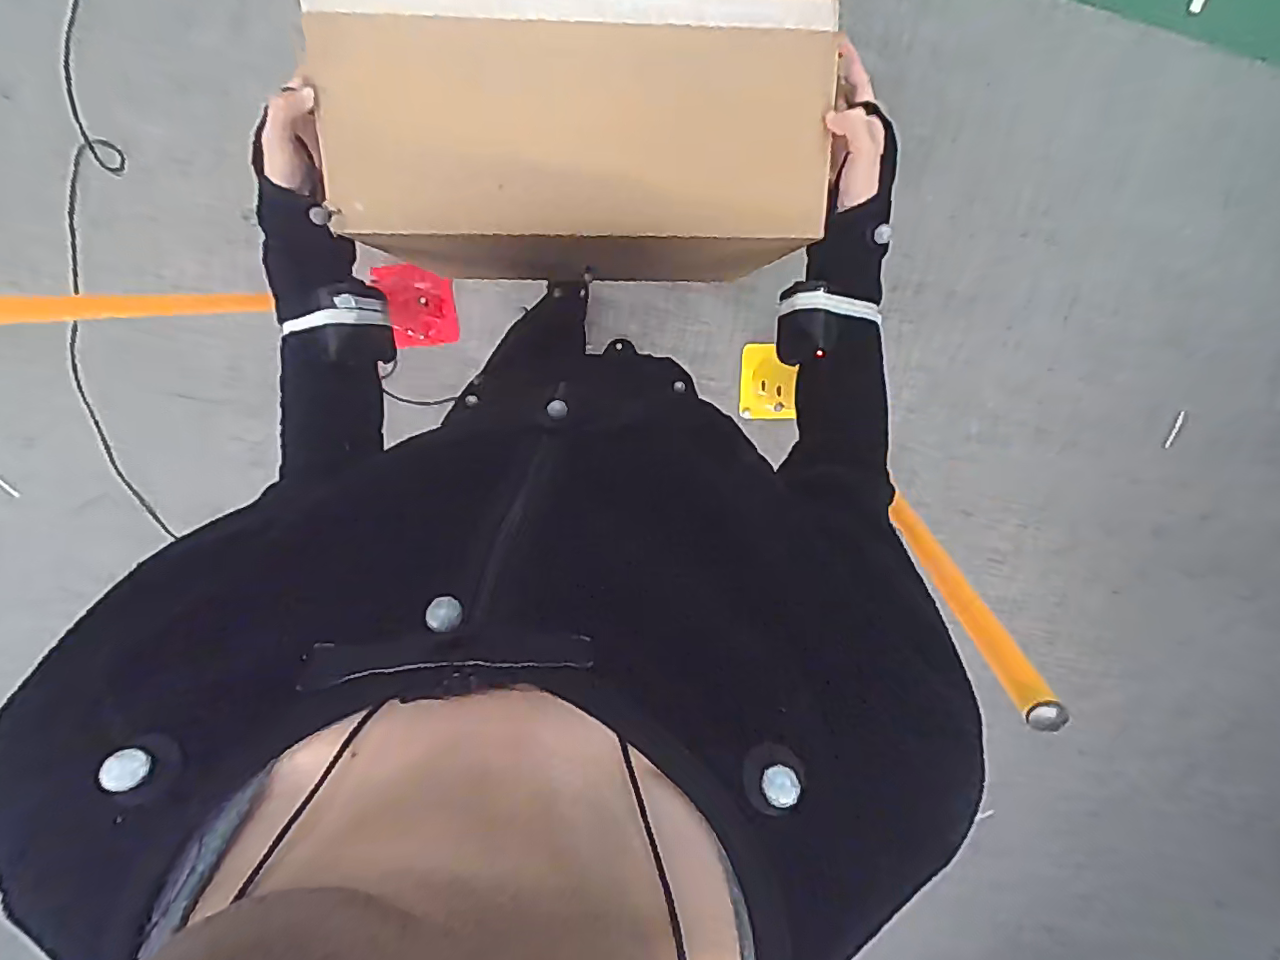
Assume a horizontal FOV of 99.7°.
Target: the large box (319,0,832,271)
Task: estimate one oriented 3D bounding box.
[{"bbox_3d":[-0.054,-0.397,0.564,0.408,0.320,0.320,-1,104,-4],"label":"large box"}]
